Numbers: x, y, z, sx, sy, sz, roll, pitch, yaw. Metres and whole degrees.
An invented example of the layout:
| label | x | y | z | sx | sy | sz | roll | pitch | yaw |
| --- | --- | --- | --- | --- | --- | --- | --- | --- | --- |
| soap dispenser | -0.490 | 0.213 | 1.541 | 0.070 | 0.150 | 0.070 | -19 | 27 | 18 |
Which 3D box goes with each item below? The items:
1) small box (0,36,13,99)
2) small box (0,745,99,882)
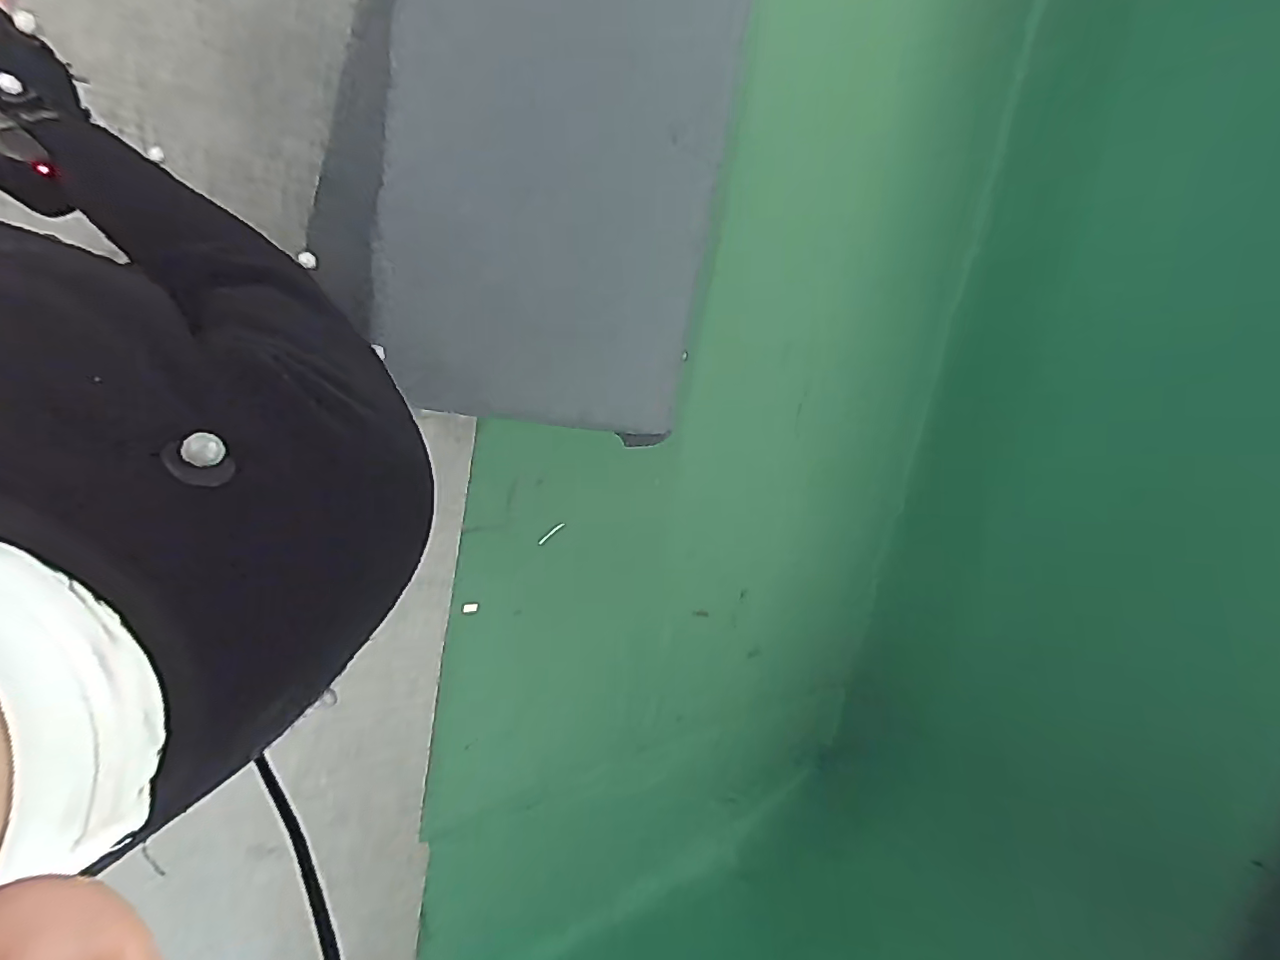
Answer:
| label | x | y | z | sx | sy | sz | roll | pitch | yaw |
| --- | --- | --- | --- | --- | --- | --- | --- | --- | --- |
| small box | -0.651 | -0.423 | 0.425 | 0.179 | 0.176 | 0.168 | -17 | 114 | -37 |
| small box | -1.305 | 0.721 | 1.180 | 0.168 | 0.176 | 0.179 | 4 | 102 | -45 |
